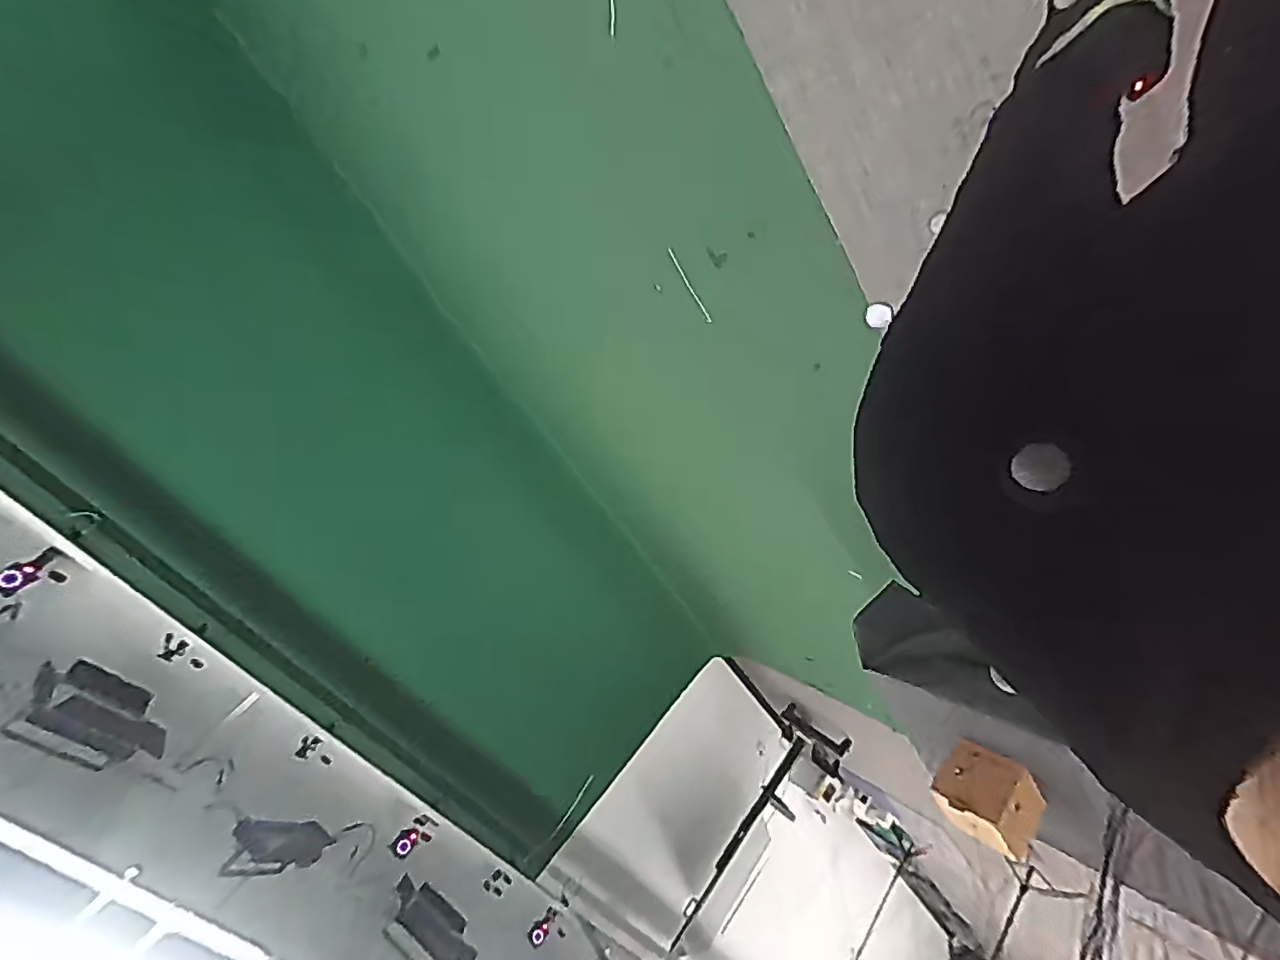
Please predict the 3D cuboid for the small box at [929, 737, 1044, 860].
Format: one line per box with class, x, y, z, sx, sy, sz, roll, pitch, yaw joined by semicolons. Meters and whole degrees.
small box;0.869;0.787;1.355;0.179;0.176;0.168;52;160;-21
